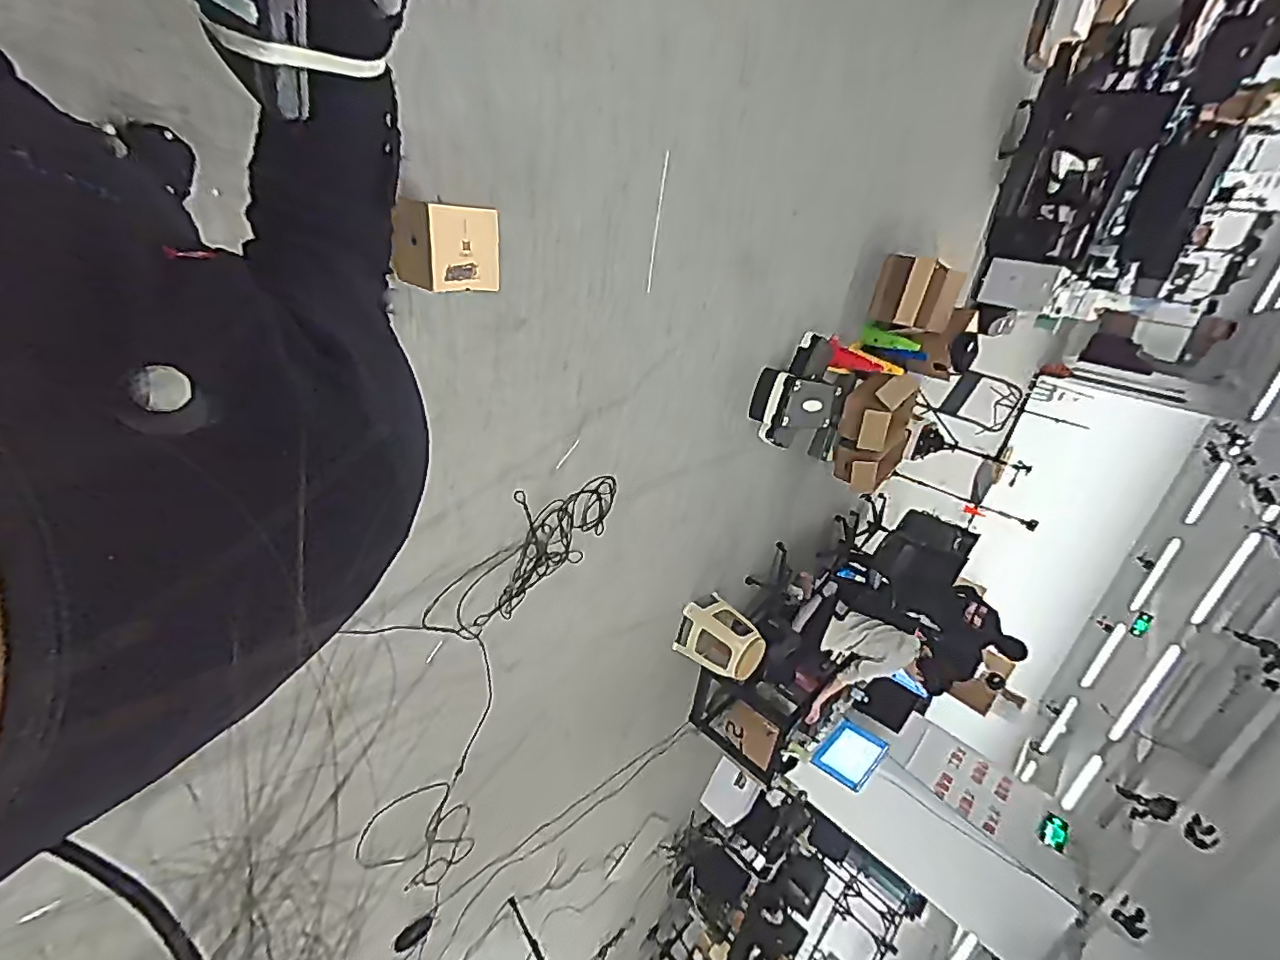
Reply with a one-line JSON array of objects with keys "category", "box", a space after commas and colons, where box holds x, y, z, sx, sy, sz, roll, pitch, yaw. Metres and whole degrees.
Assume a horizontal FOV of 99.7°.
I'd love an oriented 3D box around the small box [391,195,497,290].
[{"category": "small box", "box": [-0.441, -0.534, 1.221, 0.168, 0.176, 0.179, -19, 126, -43]}]
